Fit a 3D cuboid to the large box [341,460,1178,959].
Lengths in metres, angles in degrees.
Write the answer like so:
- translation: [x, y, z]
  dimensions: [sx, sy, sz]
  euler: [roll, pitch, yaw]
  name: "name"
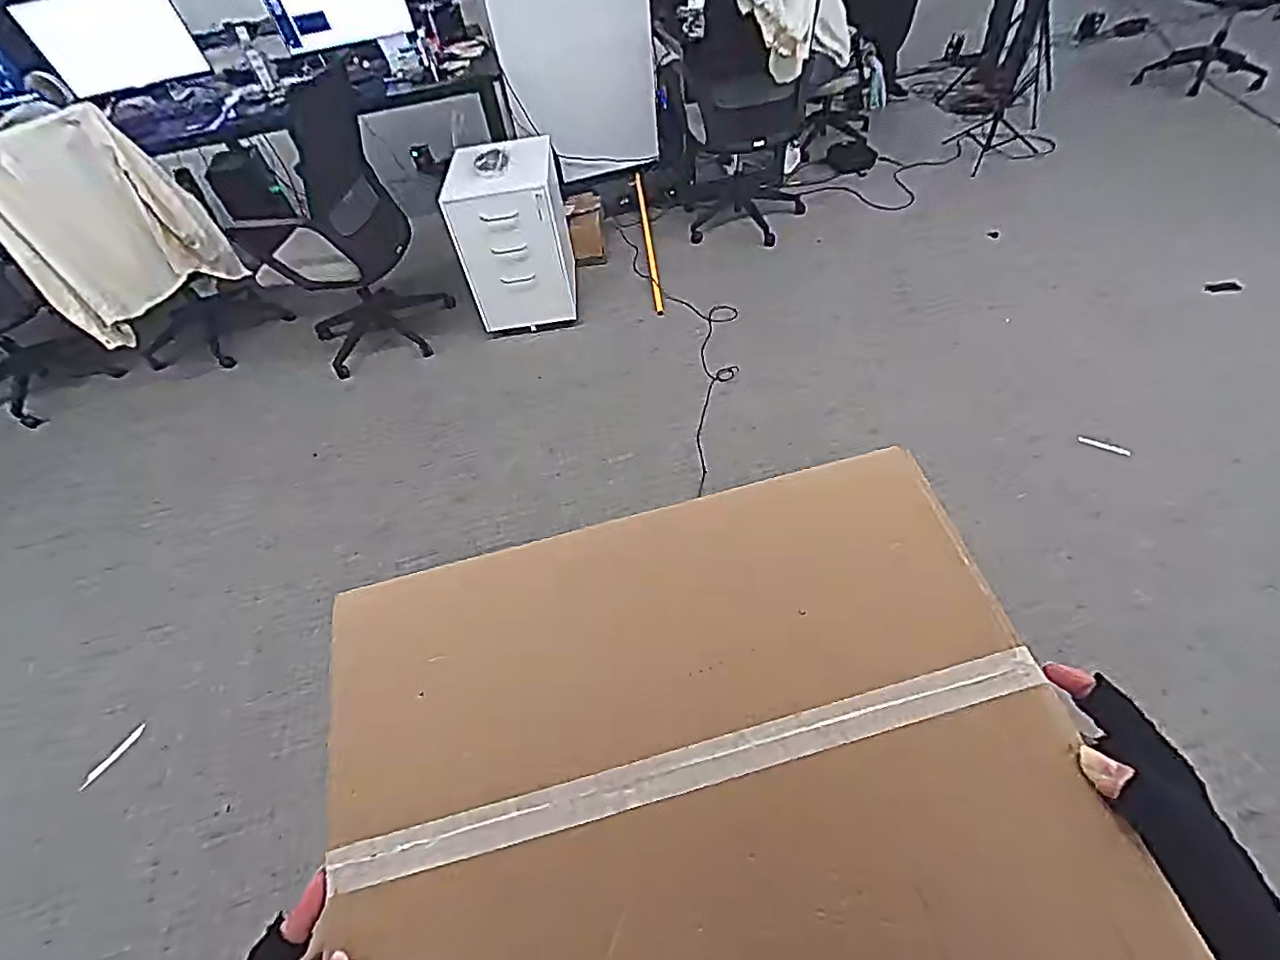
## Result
- translation: [0.041, 0.234, 0.440]
  dimensions: [0.408, 0.320, 0.320]
  euler: [-15, 60, -3]
  name: "large box"
